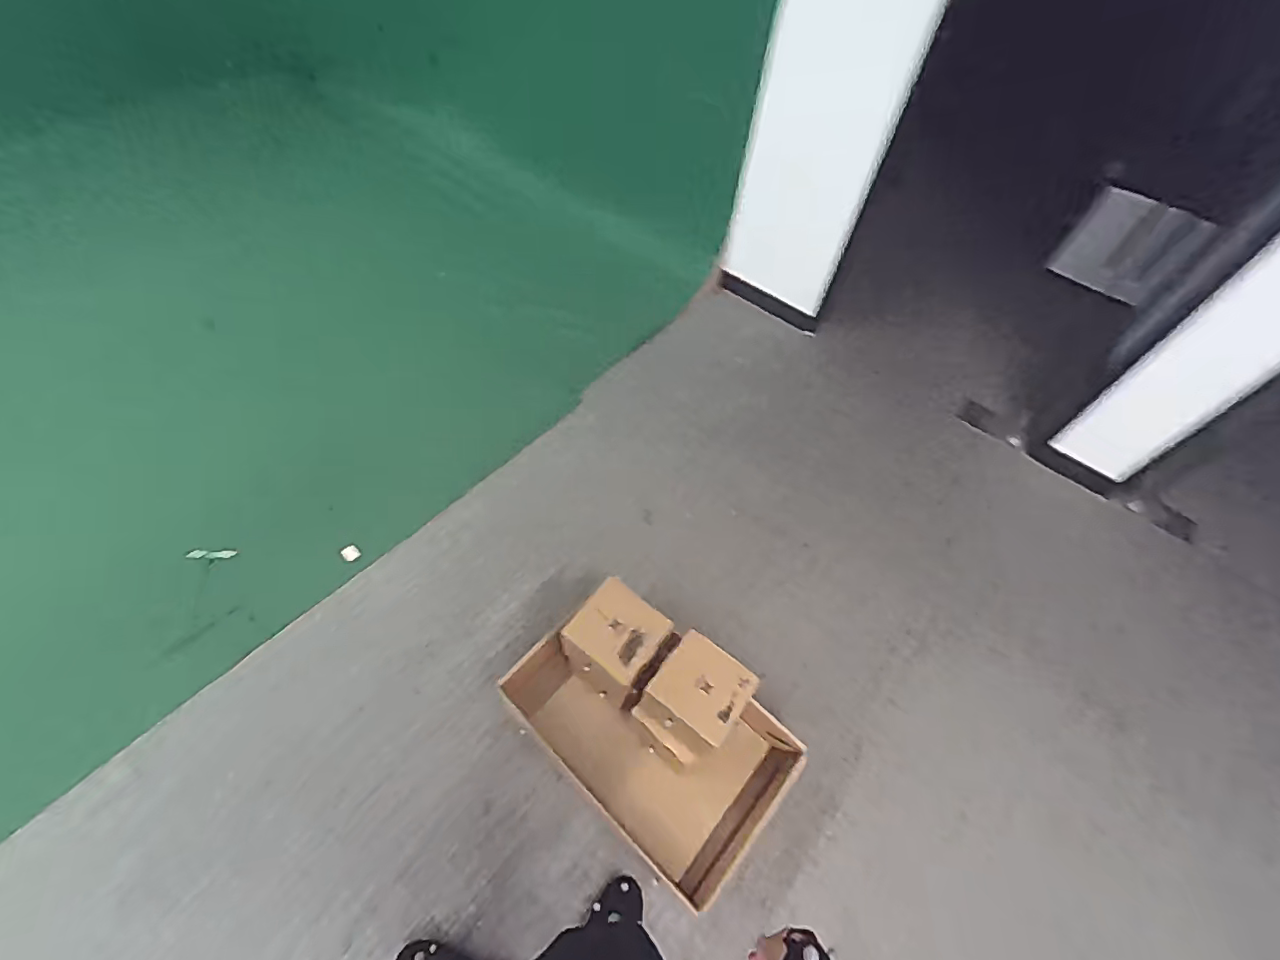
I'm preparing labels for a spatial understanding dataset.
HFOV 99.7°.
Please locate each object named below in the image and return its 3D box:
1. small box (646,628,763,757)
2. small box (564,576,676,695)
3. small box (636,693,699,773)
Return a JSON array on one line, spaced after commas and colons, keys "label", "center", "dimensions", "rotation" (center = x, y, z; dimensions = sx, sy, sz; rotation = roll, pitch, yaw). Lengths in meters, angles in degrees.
[{"label": "small box", "center": [0.126, 0.451, 1.134], "dimensions": [0.179, 0.176, 0.168], "rotation": [34, 60, 20]}, {"label": "small box", "center": [-0.044, 0.348, 1.191], "dimensions": [0.179, 0.176, 0.168], "rotation": [35, 62, 18]}, {"label": "small box", "center": [0.100, 0.550, 1.264], "dimensions": [0.168, 0.176, 0.179], "rotation": [38, 62, 22]}]
